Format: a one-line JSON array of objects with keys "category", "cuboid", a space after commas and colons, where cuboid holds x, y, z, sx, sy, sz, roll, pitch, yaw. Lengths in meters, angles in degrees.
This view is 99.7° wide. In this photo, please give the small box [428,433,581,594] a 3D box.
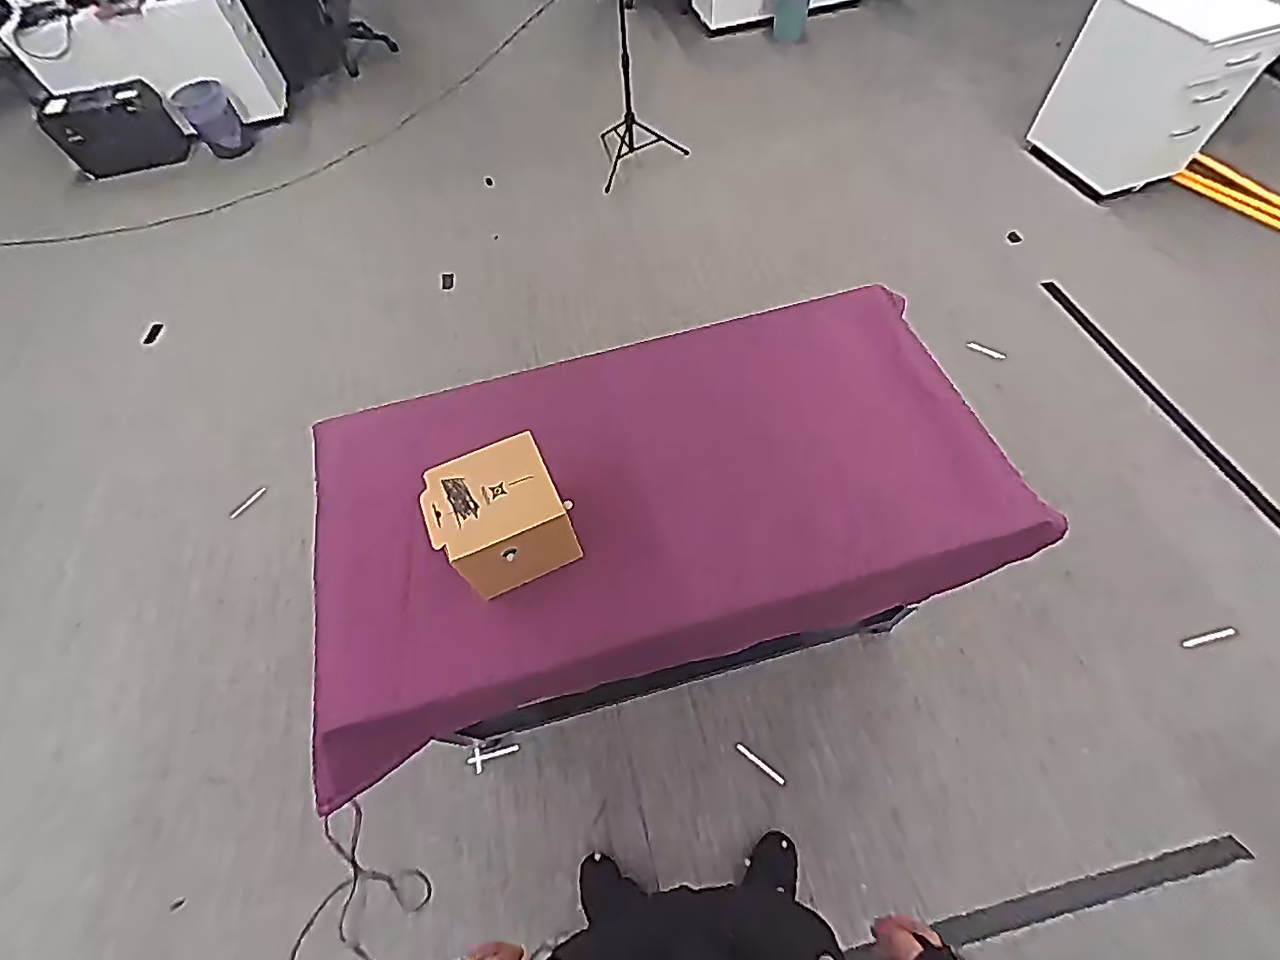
[{"category": "small box", "cuboid": [-0.211, 0.061, 0.871, 0.179, 0.176, 0.168, -23, 61, -10]}]
